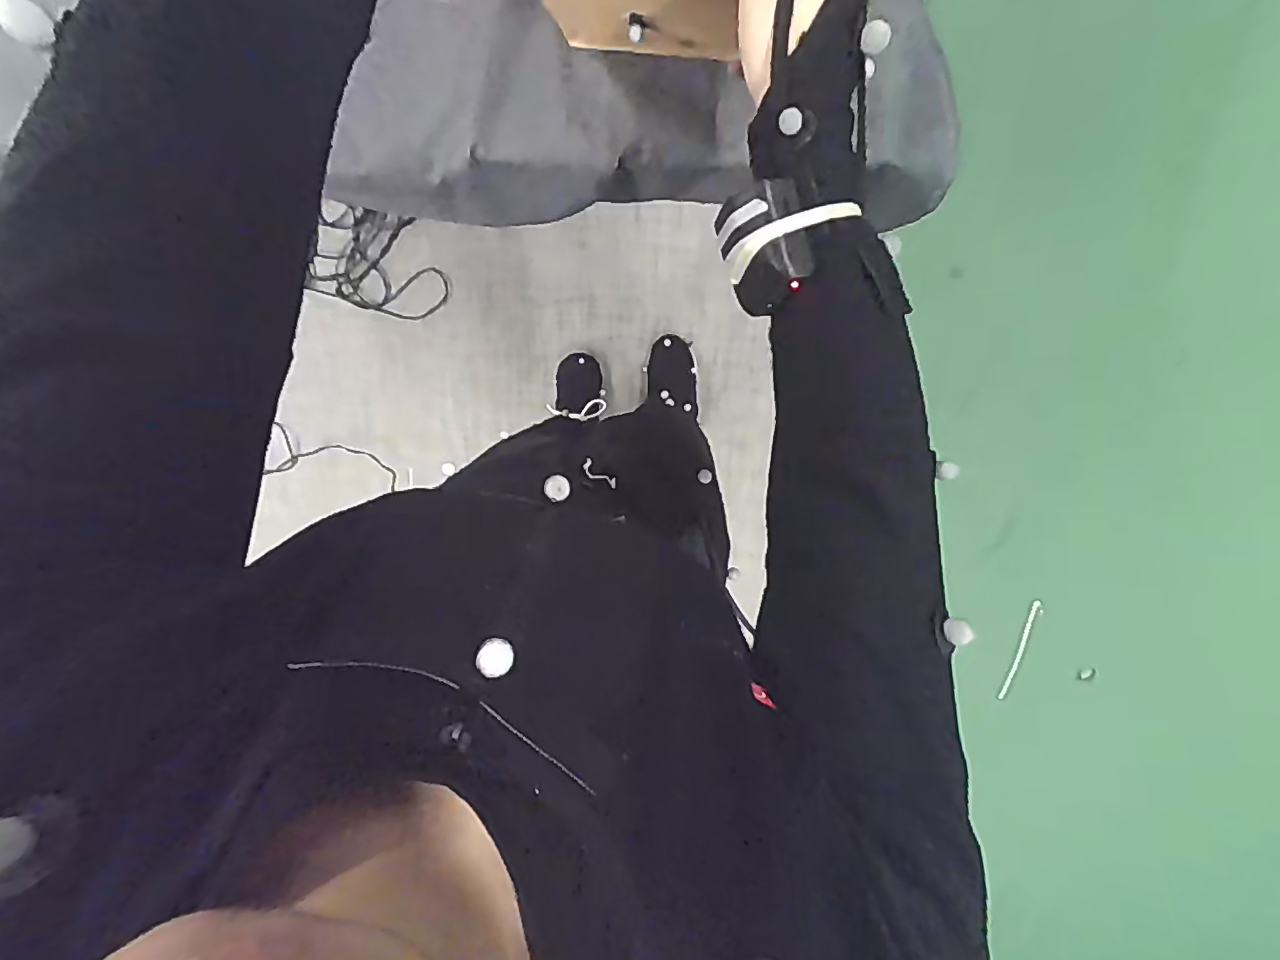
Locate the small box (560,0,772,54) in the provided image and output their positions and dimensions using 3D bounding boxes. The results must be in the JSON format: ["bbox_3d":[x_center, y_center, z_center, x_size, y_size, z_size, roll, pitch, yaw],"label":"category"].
[{"bbox_3d":[0.019,-0.414,0.345,0.168,0.176,0.179,8,112,5],"label":"small box"}]
